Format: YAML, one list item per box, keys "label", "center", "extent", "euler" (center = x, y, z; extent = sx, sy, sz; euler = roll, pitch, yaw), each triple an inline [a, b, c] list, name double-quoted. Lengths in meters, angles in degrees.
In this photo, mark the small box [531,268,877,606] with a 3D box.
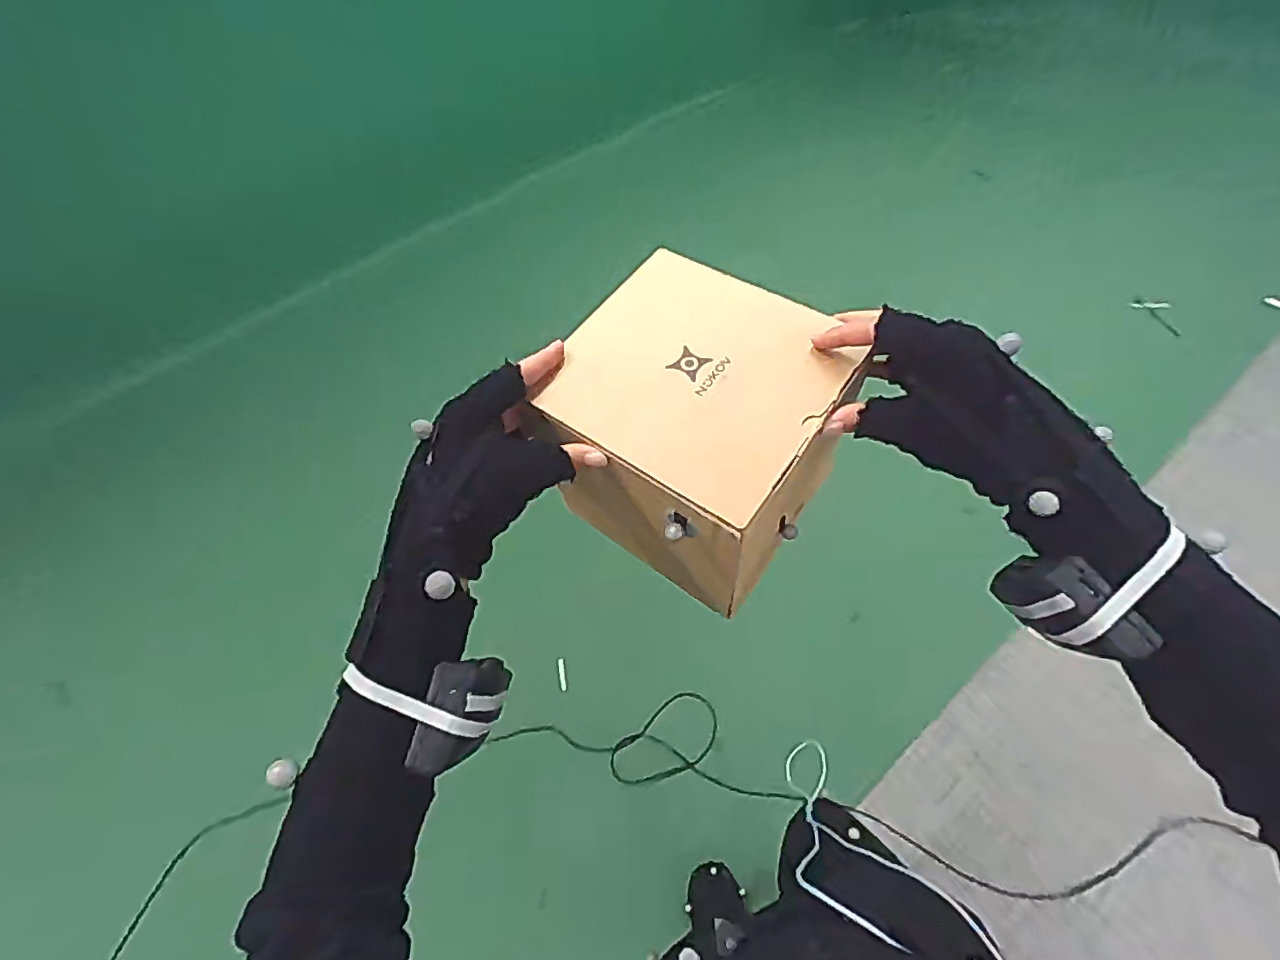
- label: "small box"
  center: [0.048, -0.026, 0.428]
  extent: [0.179, 0.176, 0.168]
  euler: [32, 68, 22]
